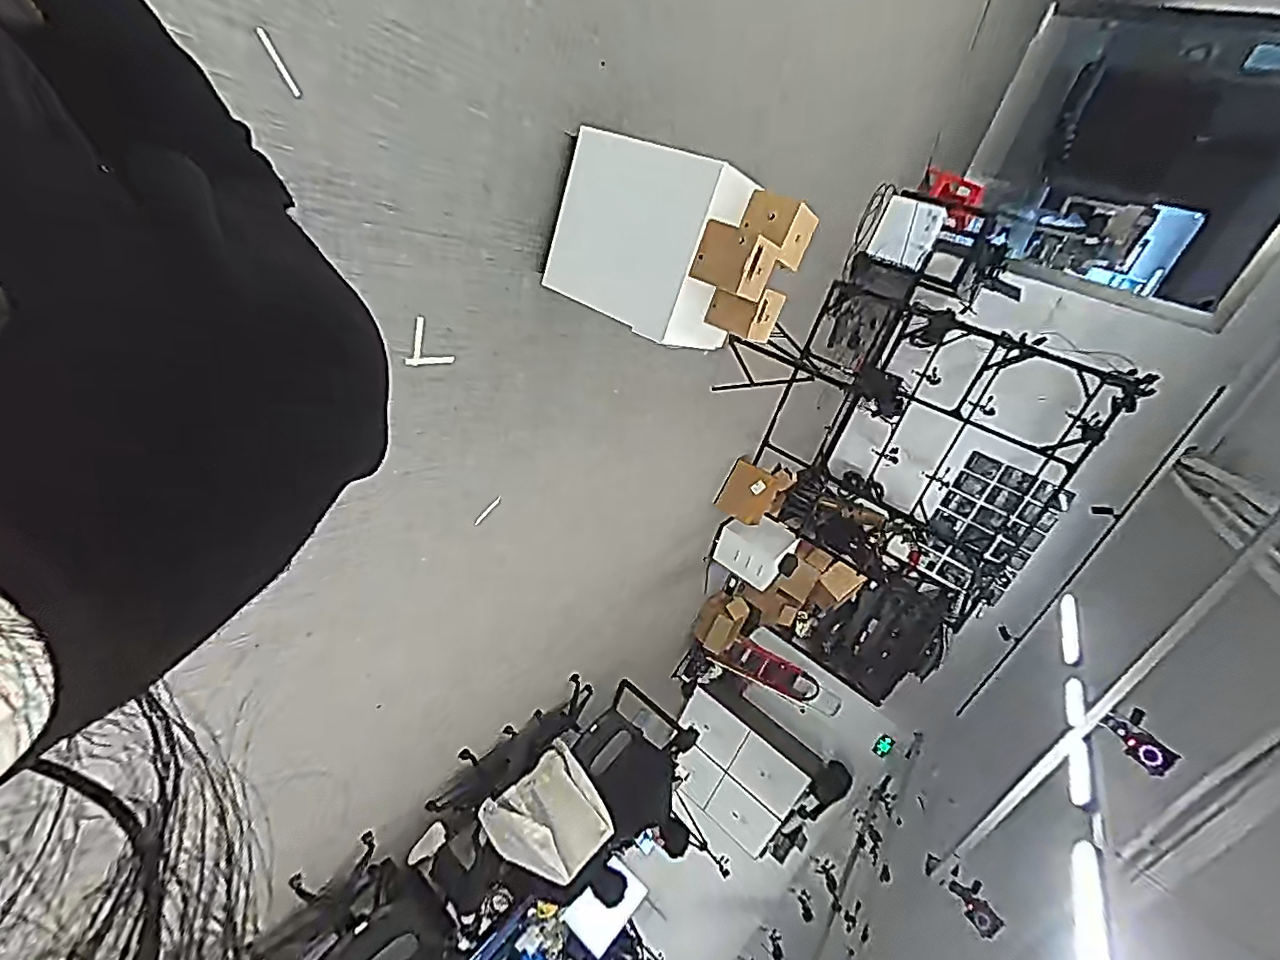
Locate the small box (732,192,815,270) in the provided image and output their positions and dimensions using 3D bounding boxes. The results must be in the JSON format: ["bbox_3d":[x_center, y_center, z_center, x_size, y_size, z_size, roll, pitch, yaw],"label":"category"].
[{"bbox_3d":[0.414,-0.780,1.691,0.179,0.176,0.168,-10,128,-56],"label":"small box"}]
